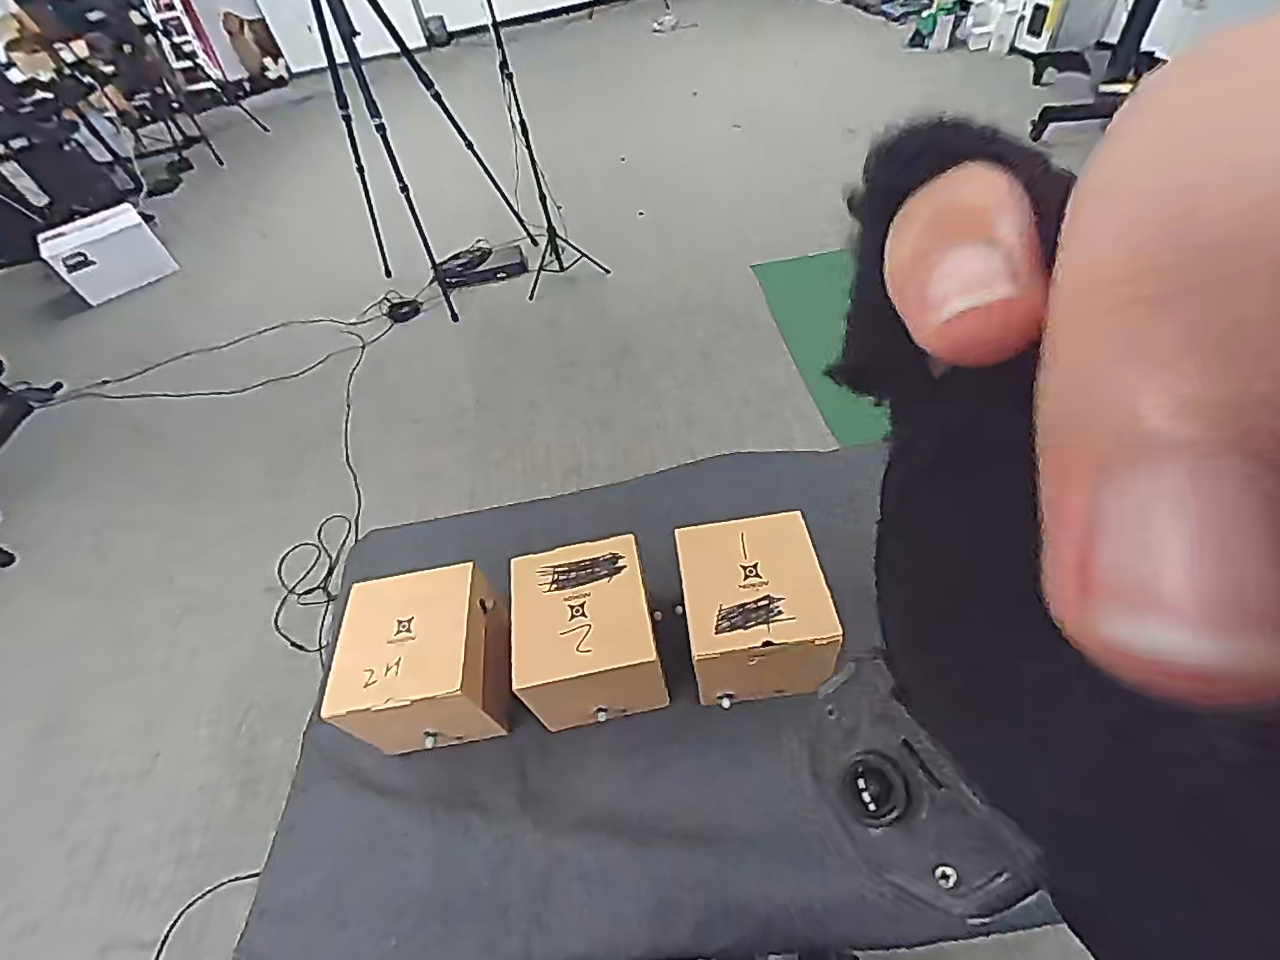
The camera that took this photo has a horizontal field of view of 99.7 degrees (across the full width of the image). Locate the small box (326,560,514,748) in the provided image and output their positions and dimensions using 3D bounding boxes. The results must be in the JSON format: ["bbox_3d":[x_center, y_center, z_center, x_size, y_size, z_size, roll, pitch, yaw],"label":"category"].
[{"bbox_3d":[-0.274,0.235,0.724,0.168,0.176,0.179,-10,49,2],"label":"small box"}]
